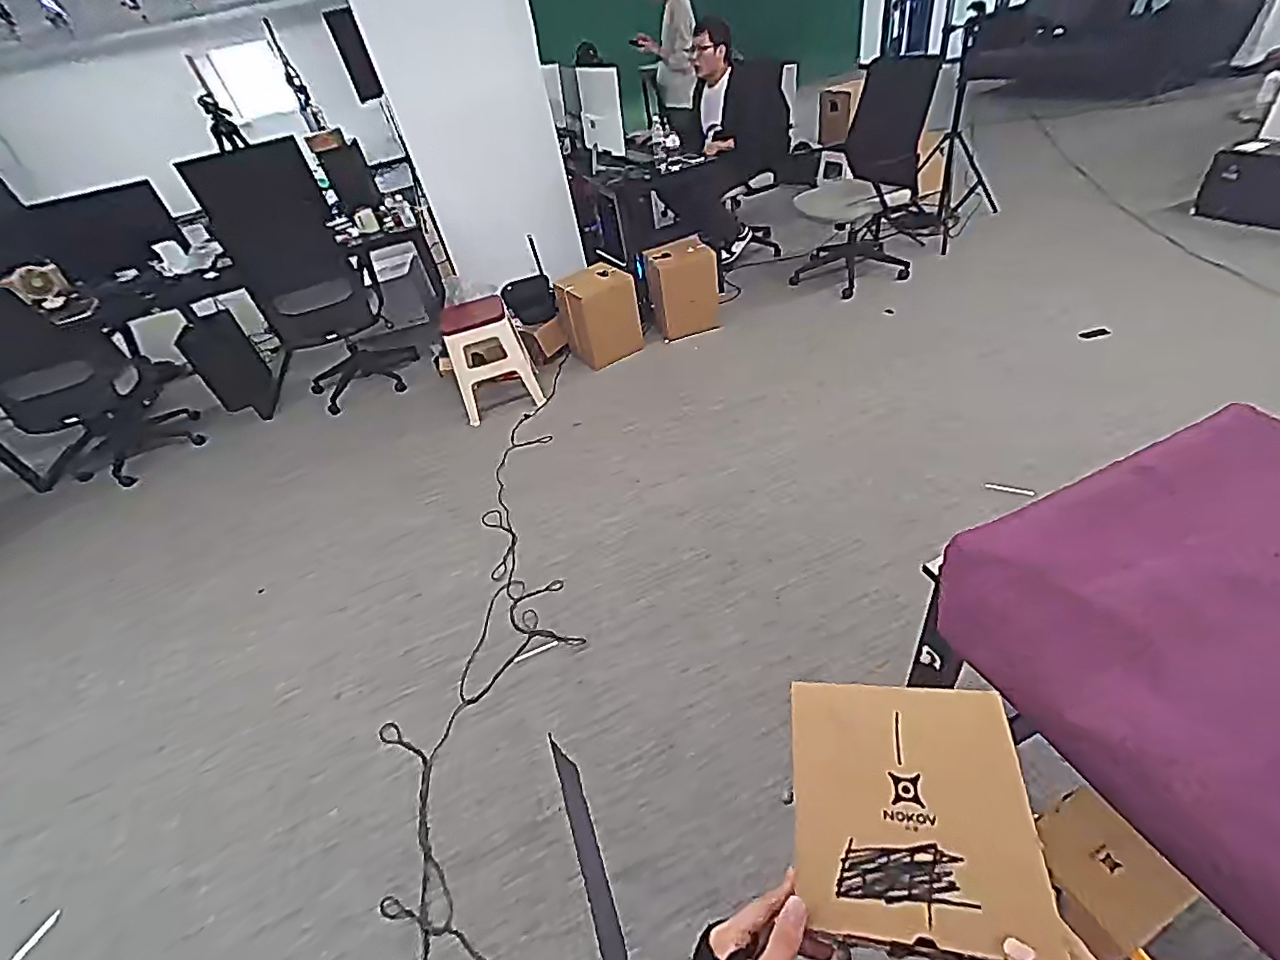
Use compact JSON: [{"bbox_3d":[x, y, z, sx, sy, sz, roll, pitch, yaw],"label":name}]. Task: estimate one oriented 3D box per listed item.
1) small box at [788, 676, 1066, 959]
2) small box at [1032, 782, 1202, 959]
[{"bbox_3d":[0.218,0.288,0.462,0.168,0.176,0.179,-3,48,16],"label":"small box"},{"bbox_3d":[0.744,0.652,0.897,0.168,0.176,0.179,-26,41,-12],"label":"small box"}]
